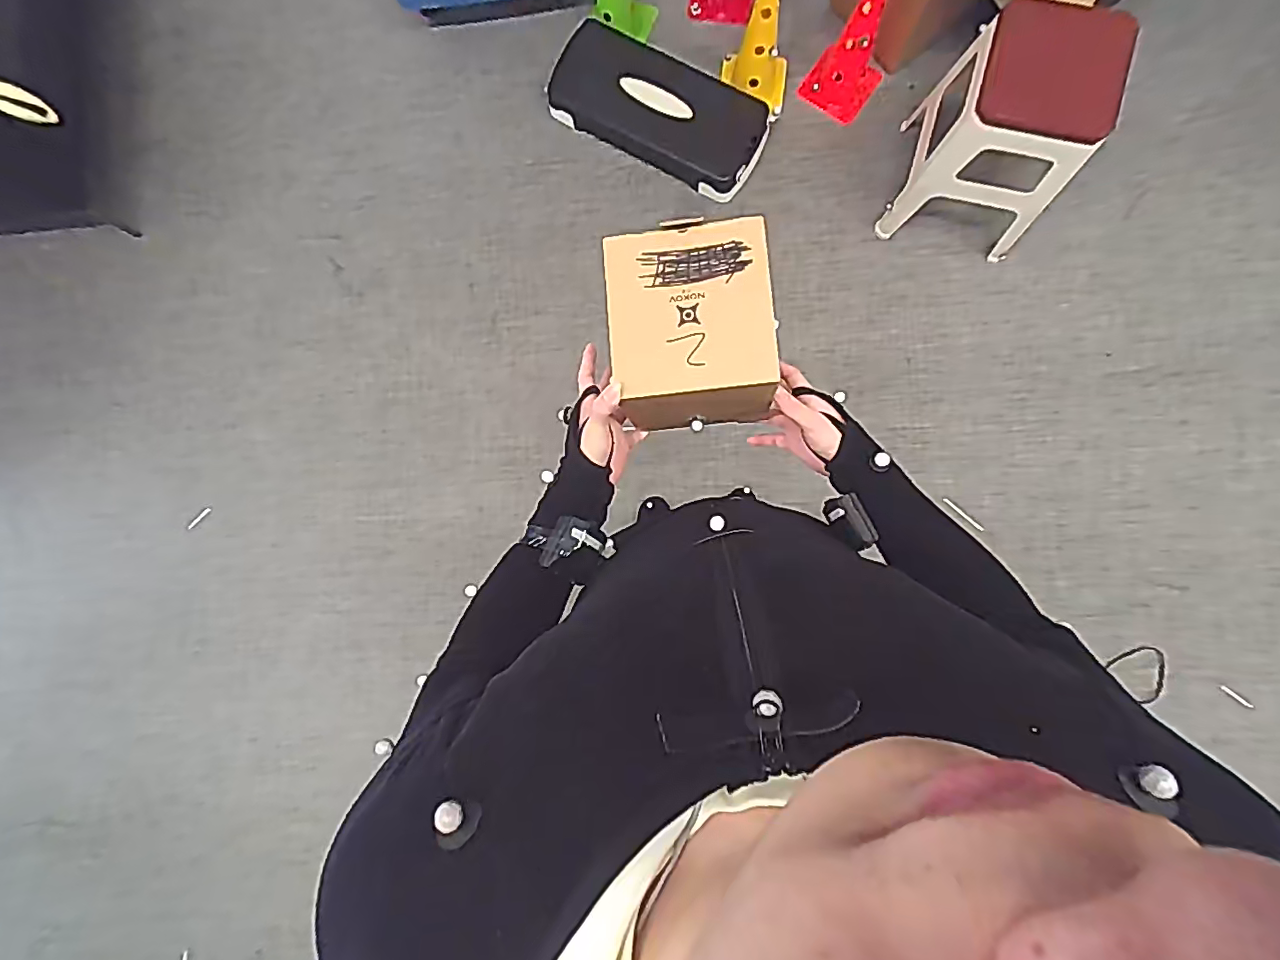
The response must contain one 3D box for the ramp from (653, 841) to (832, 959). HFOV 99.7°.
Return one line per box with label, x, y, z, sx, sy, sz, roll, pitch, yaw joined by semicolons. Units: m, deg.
ramp;0.298;1.545;1.468;0.509;0.206;0.991;-5;86;5
